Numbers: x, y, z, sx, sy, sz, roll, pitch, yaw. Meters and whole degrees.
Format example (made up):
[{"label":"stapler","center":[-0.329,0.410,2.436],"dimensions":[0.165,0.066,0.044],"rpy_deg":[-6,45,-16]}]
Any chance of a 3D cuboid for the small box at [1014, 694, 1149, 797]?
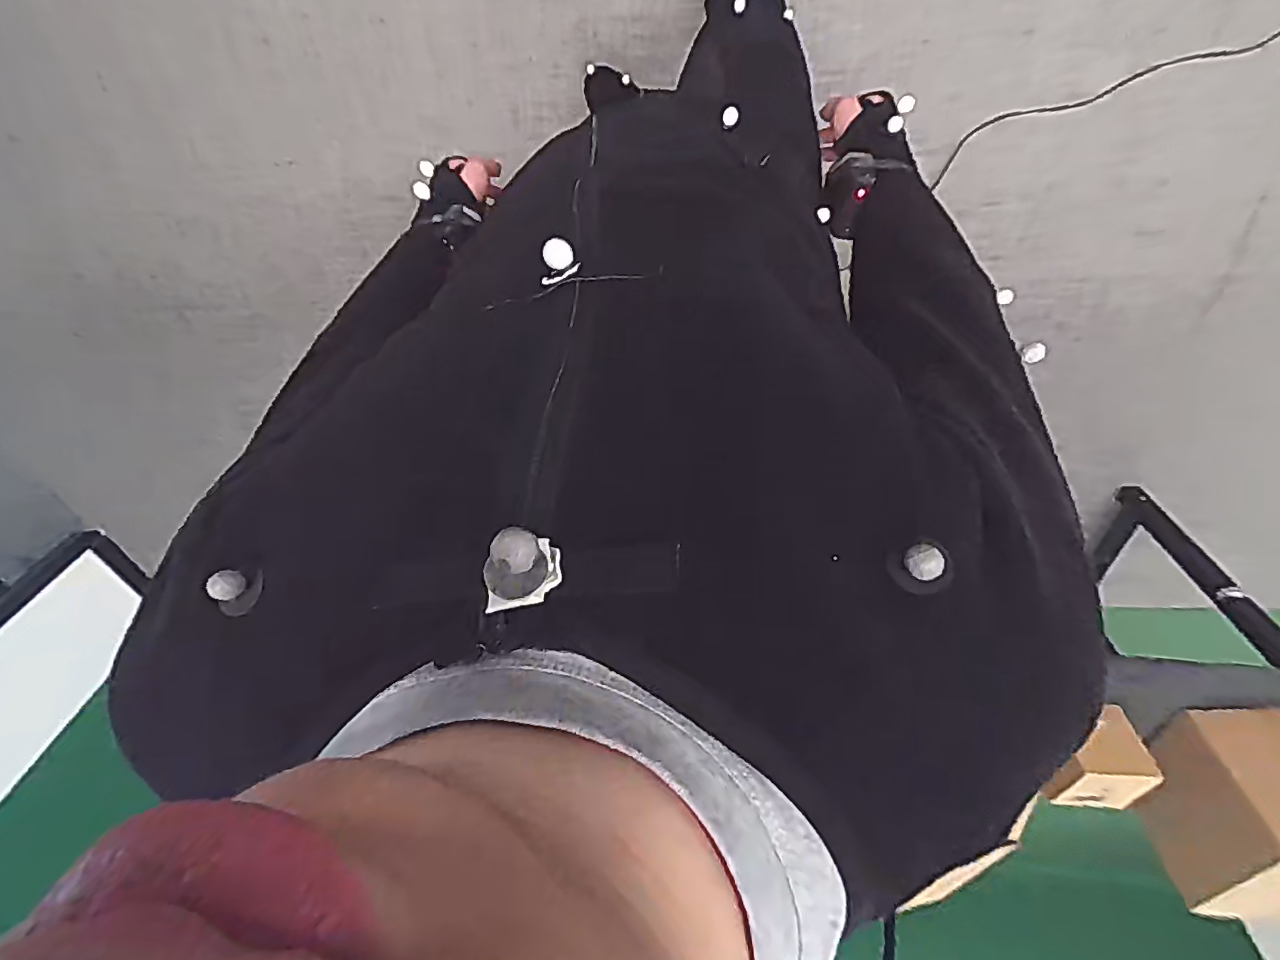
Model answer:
[{"label":"small box","center":[1.052,0.645,1.314],"dimensions":[0.168,0.176,0.179],"rpy_deg":[1,131,3]}]
